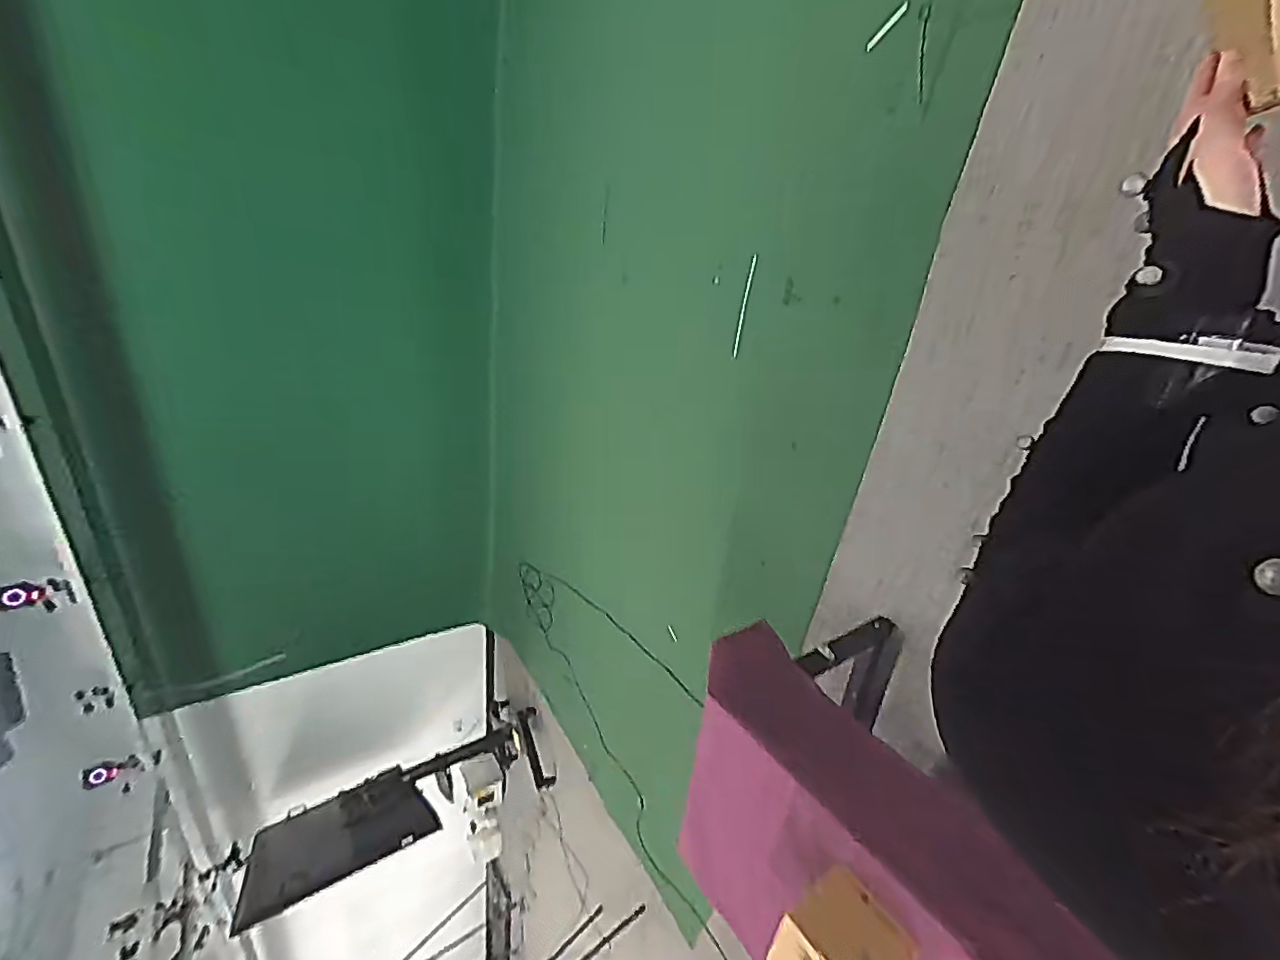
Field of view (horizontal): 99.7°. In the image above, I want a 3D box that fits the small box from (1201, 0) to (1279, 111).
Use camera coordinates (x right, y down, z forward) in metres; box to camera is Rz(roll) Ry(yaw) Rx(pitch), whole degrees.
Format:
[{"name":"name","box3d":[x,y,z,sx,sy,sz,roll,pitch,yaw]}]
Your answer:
[{"name":"small box","box3d":[0.396,-0.318,0.260,0.168,0.176,0.179,-8,106,42]}]
